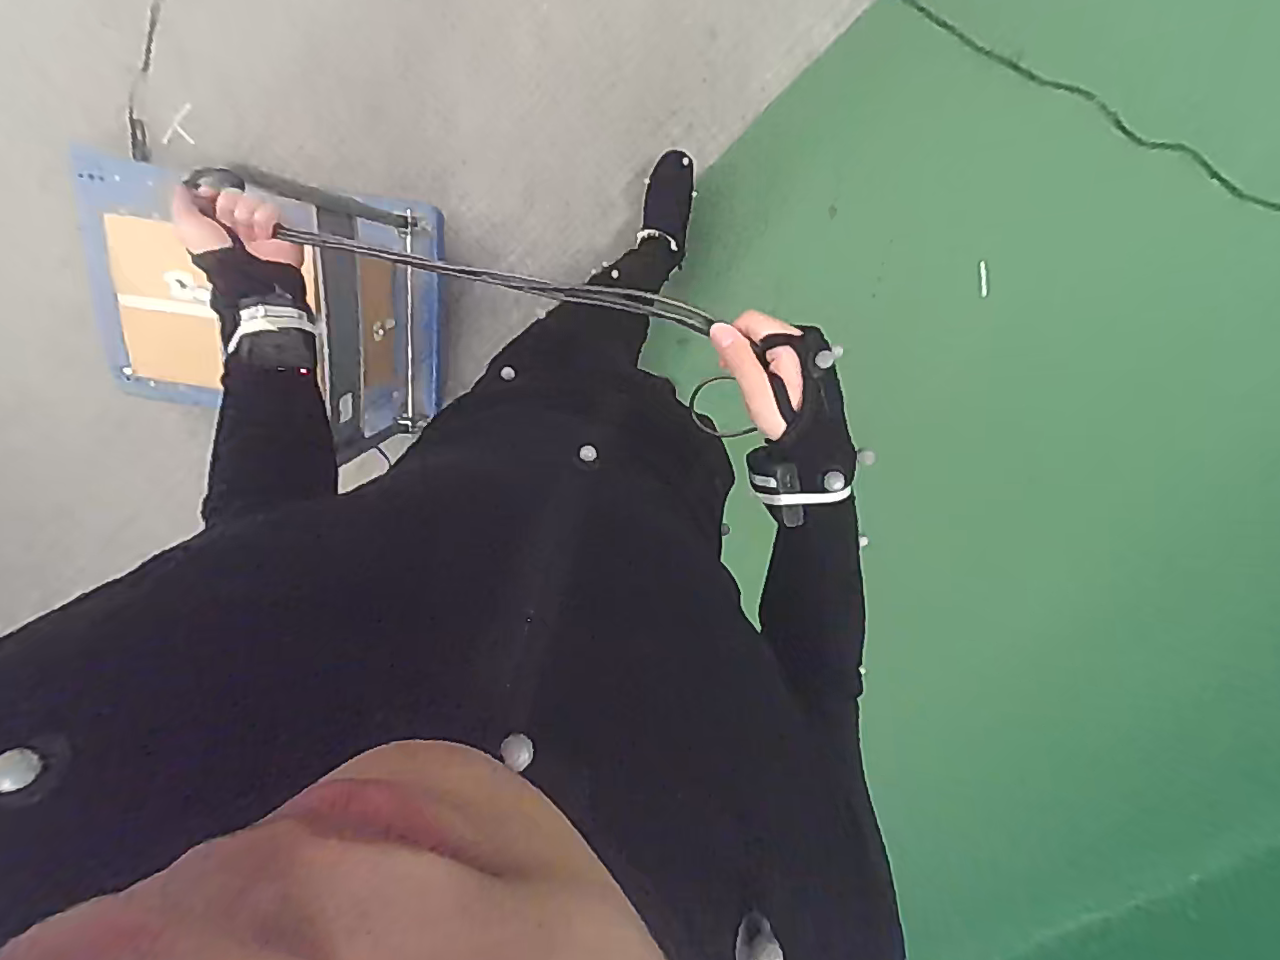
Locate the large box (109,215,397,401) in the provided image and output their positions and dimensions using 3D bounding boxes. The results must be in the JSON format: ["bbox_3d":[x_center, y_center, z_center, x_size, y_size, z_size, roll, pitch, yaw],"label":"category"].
[{"bbox_3d":[-0.809,-0.379,1.198,0.408,0.320,0.320,9,109,1],"label":"large box"}]
